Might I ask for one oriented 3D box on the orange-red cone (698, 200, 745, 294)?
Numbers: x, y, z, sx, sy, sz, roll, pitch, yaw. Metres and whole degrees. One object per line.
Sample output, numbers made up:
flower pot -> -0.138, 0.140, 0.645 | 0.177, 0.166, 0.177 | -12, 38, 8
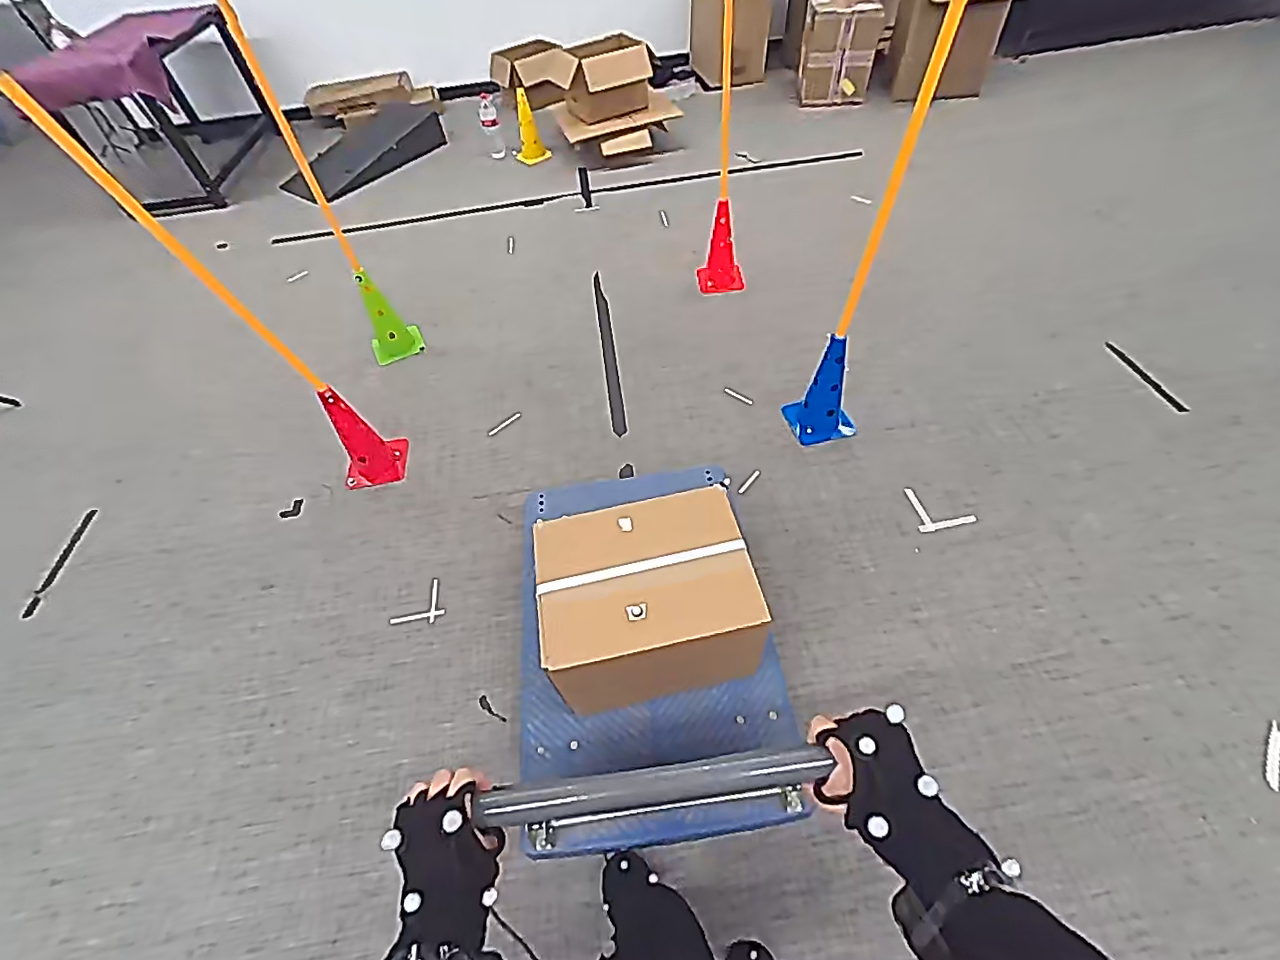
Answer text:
orange-red cone -> 0.353, -1.001, 2.292 | 0.199, 0.360, 0.198 | -3, 53, 2

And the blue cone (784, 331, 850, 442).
blue cone -> 0.605, -0.311, 1.753 | 0.193, 0.380, 0.192 | -12, 51, -4
